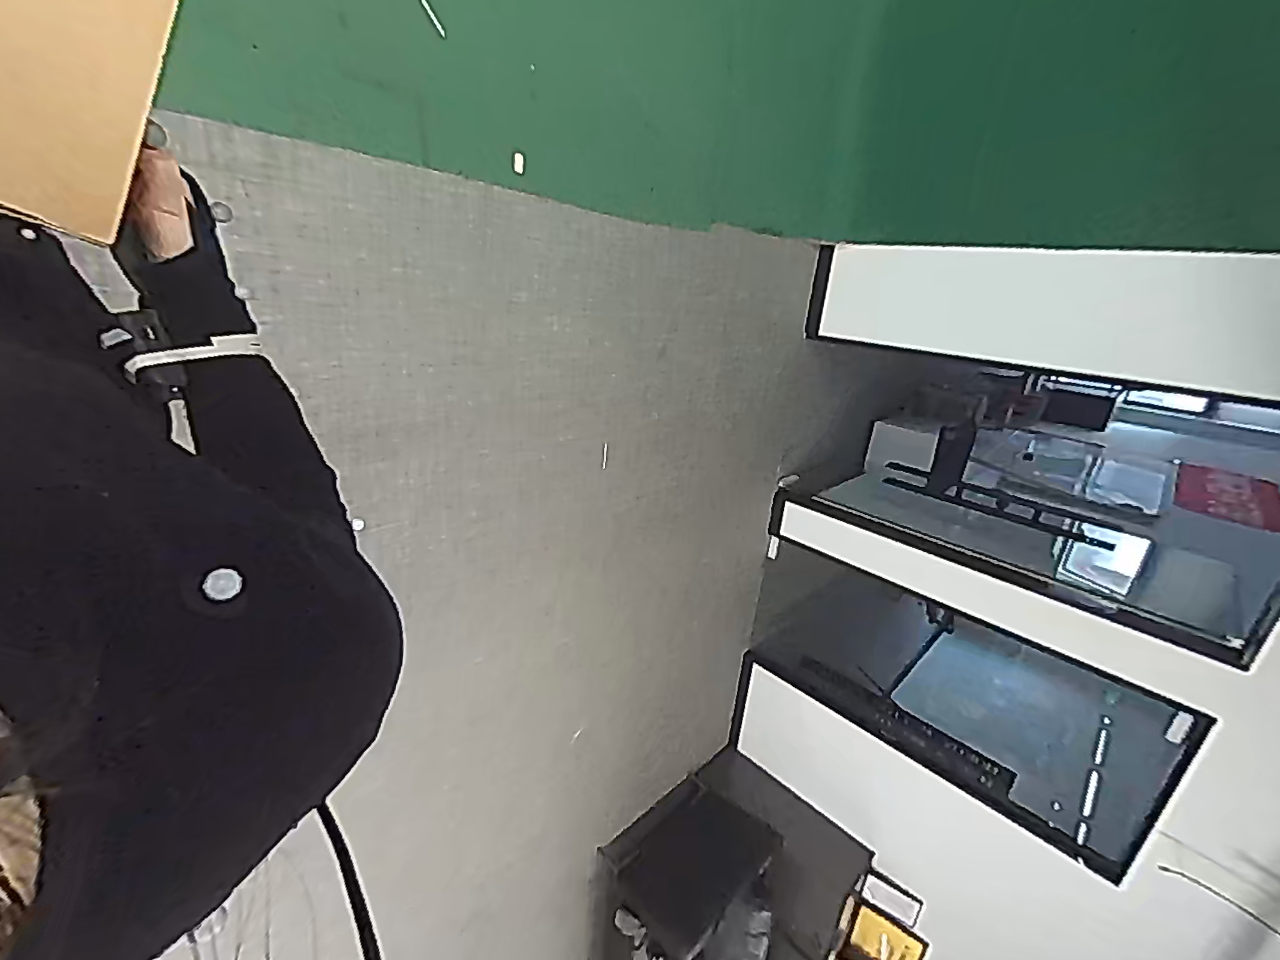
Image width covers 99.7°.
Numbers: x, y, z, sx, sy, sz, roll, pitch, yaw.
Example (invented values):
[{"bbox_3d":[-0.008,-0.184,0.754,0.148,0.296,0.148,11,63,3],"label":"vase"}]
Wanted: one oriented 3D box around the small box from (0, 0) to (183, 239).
[{"bbox_3d":[-0.392,-0.261,0.292,0.168,0.176,0.179,13,99,-57],"label":"small box"}]
